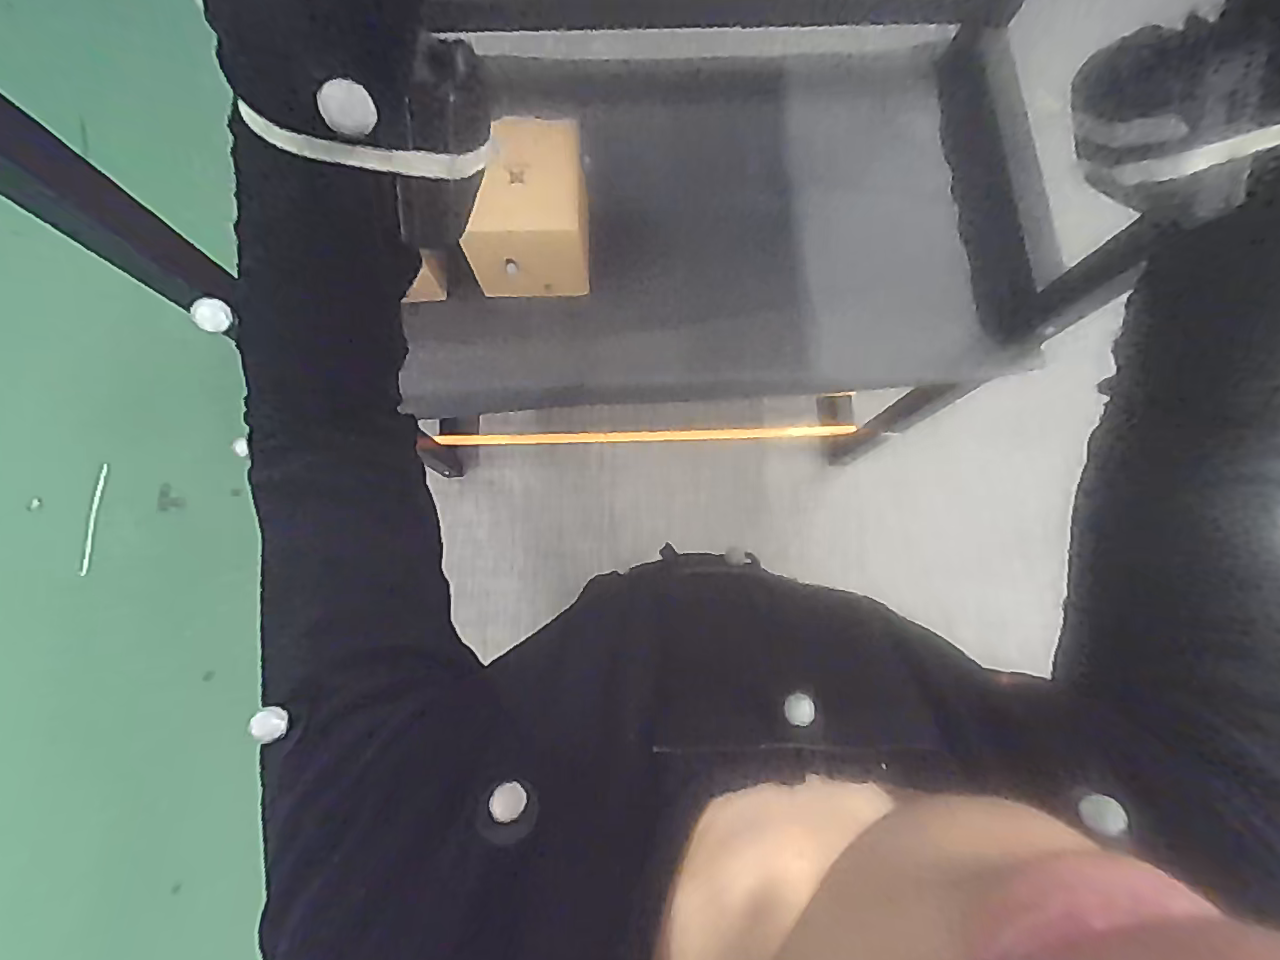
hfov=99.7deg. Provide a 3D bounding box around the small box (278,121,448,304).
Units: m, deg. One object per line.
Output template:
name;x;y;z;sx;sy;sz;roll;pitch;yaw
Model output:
small box;-0.392;-0.383;0.794;0.168;0.176;0.179;-4;78;-1

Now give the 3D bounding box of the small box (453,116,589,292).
small box;-0.165;-0.395;0.801;0.168;0.176;0.179;-2;77;-1
